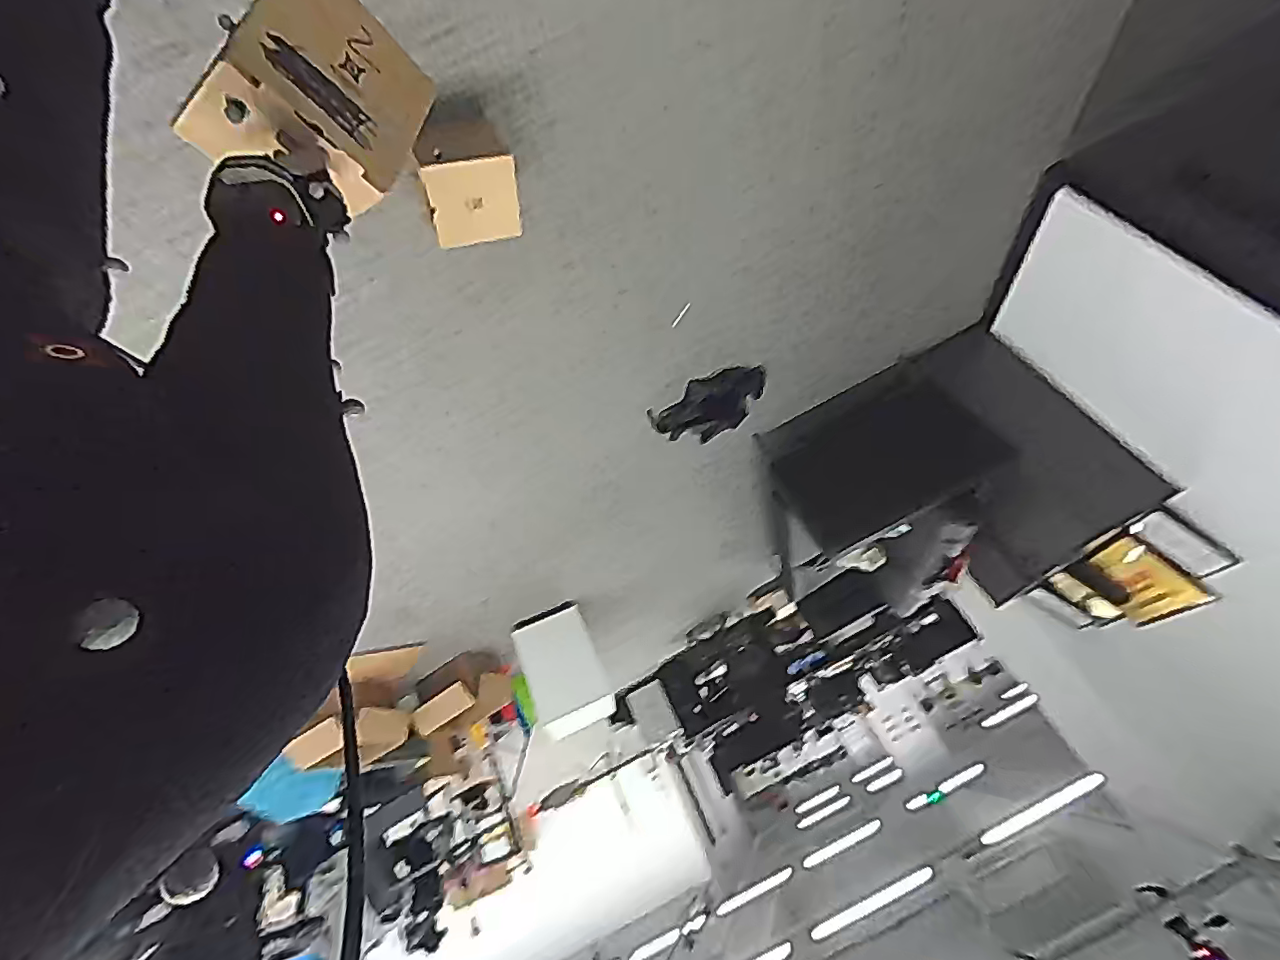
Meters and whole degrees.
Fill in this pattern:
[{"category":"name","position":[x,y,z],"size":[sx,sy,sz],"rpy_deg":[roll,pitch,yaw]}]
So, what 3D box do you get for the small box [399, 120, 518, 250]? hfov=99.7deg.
[{"category":"small box","position":[-0.365,-0.602,1.098],"size":[0.179,0.176,0.168],"rpy_deg":[-19,150,-17]}]
